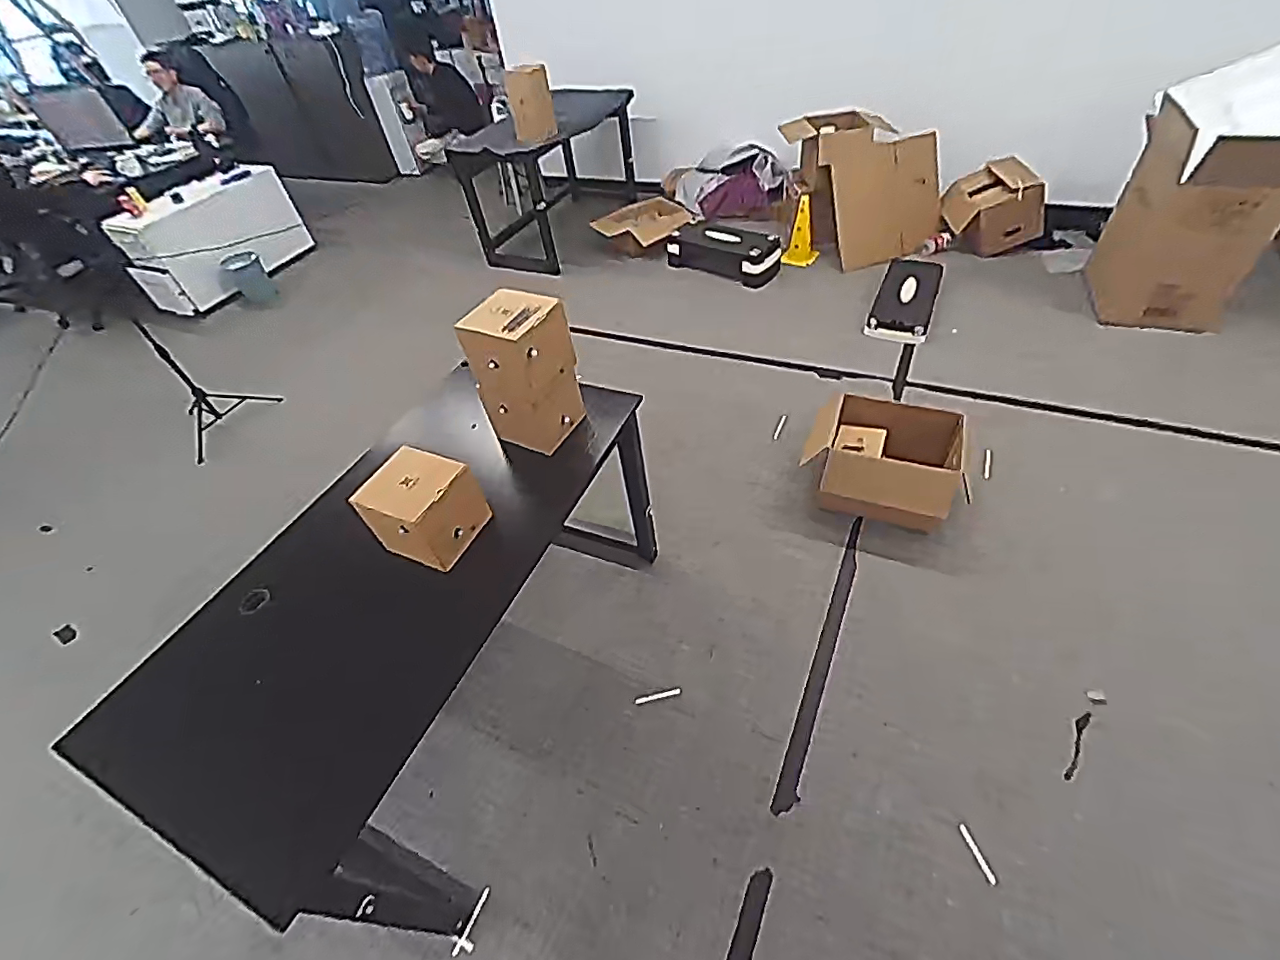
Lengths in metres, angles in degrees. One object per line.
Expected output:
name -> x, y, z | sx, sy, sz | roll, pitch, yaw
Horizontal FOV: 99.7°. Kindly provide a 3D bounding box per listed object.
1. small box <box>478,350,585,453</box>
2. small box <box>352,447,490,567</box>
small box -> -0.259, -0.192, 1.333 | 0.179, 0.176, 0.168 | 19, 54, 24
small box -> -0.448, 0.059, 1.134 | 0.179, 0.176, 0.168 | 15, 51, 21
